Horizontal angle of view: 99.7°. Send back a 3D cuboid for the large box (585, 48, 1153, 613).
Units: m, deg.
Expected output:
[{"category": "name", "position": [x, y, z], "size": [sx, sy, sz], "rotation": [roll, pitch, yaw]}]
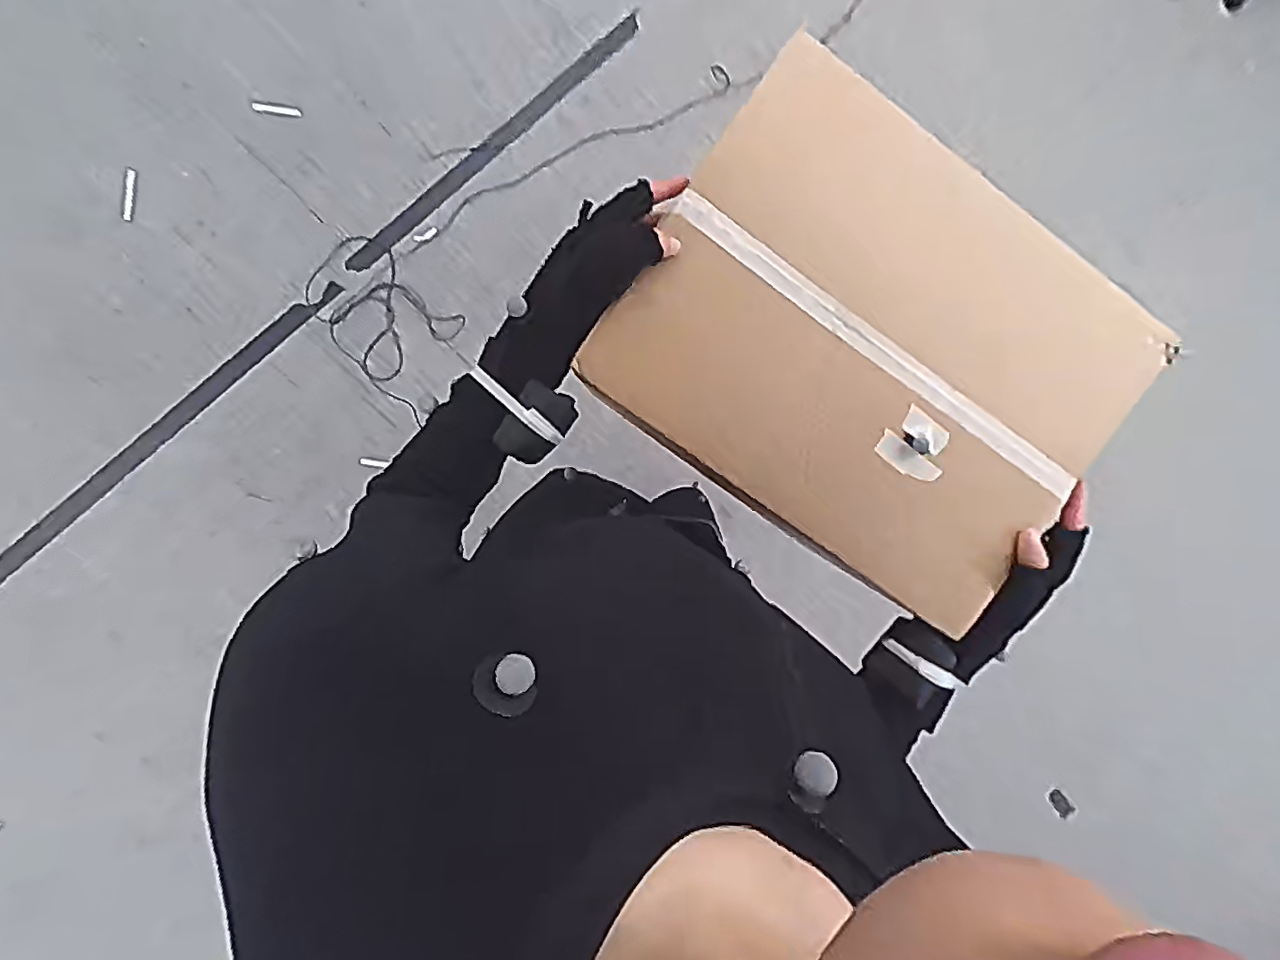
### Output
[{"category": "large box", "position": [0.189, -0.127, 0.602], "size": [0.408, 0.320, 0.320], "rotation": [35, 94, -6]}]
